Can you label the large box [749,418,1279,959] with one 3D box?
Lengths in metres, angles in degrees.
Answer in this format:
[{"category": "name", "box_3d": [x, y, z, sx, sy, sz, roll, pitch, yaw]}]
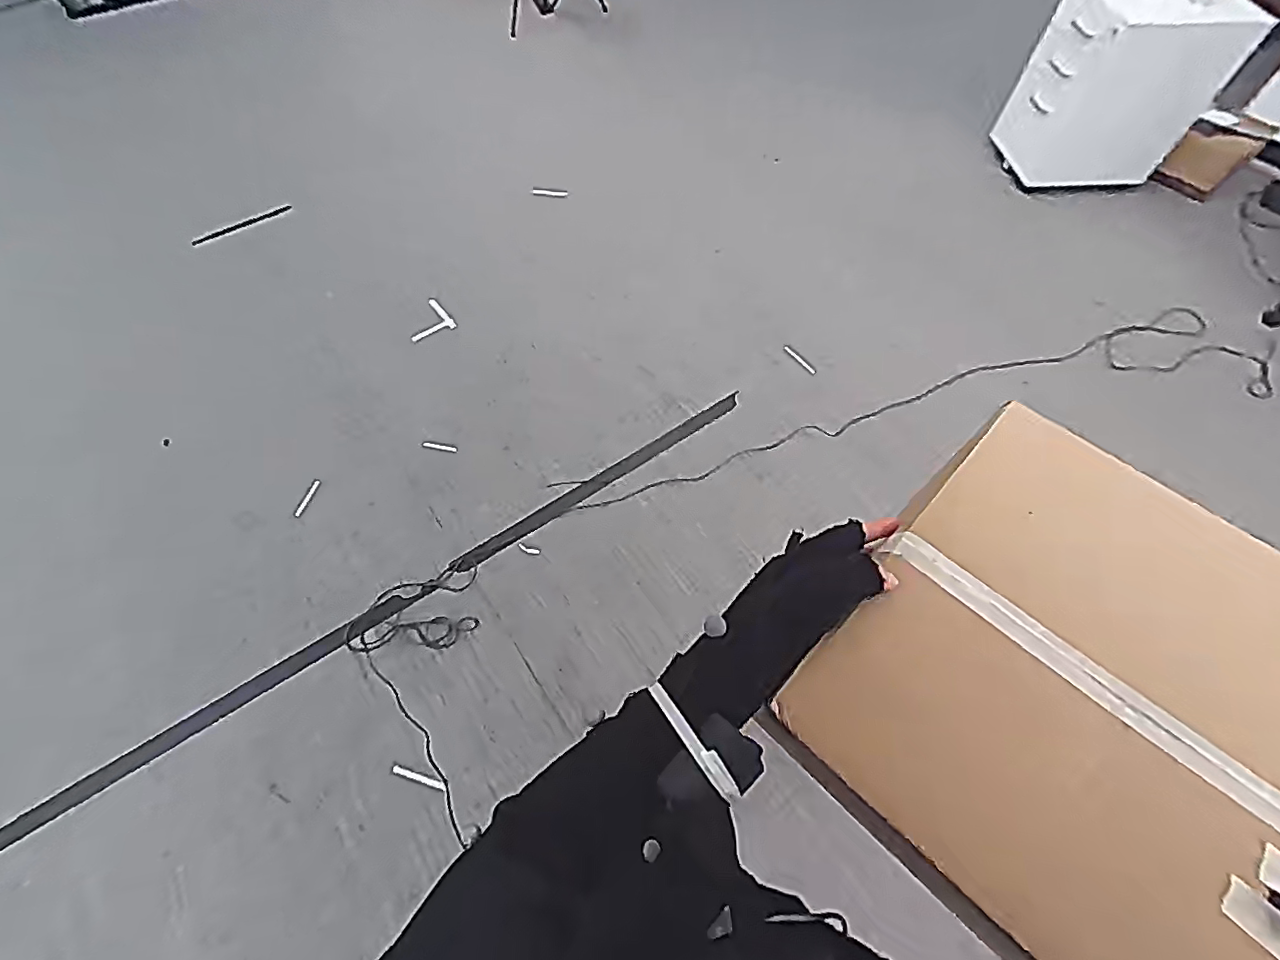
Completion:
[{"category": "large box", "box_3d": [0.355, 0.224, 0.483, 0.408, 0.320, 0.320, 40, 79, 20]}]
